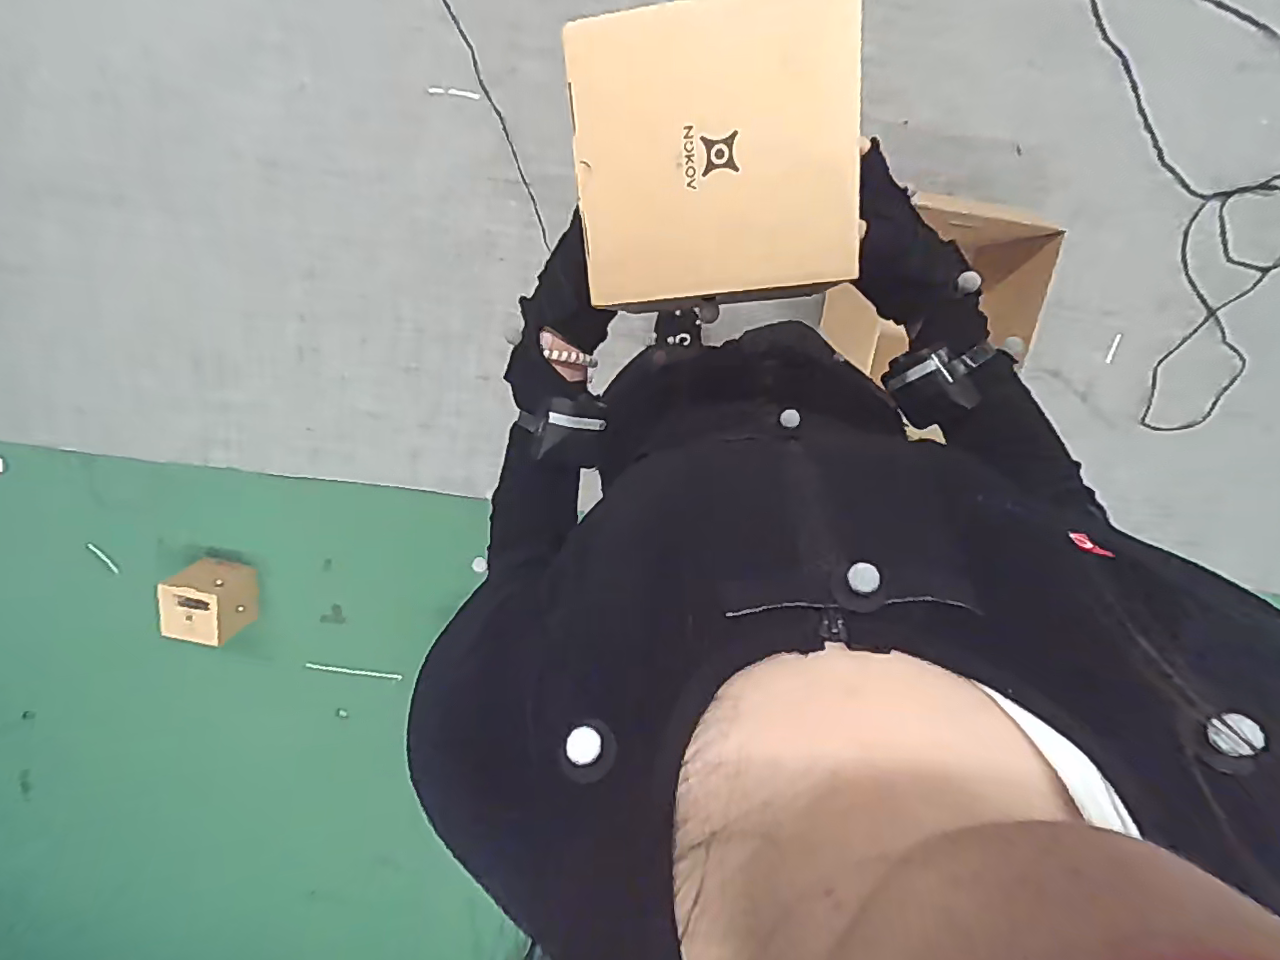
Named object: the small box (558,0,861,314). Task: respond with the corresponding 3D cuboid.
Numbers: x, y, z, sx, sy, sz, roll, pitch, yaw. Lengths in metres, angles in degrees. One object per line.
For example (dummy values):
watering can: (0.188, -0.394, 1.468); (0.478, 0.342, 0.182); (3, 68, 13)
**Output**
small box: (0.055, -0.218, 0.405); (0.179, 0.176, 0.168); (-3, 105, 11)
